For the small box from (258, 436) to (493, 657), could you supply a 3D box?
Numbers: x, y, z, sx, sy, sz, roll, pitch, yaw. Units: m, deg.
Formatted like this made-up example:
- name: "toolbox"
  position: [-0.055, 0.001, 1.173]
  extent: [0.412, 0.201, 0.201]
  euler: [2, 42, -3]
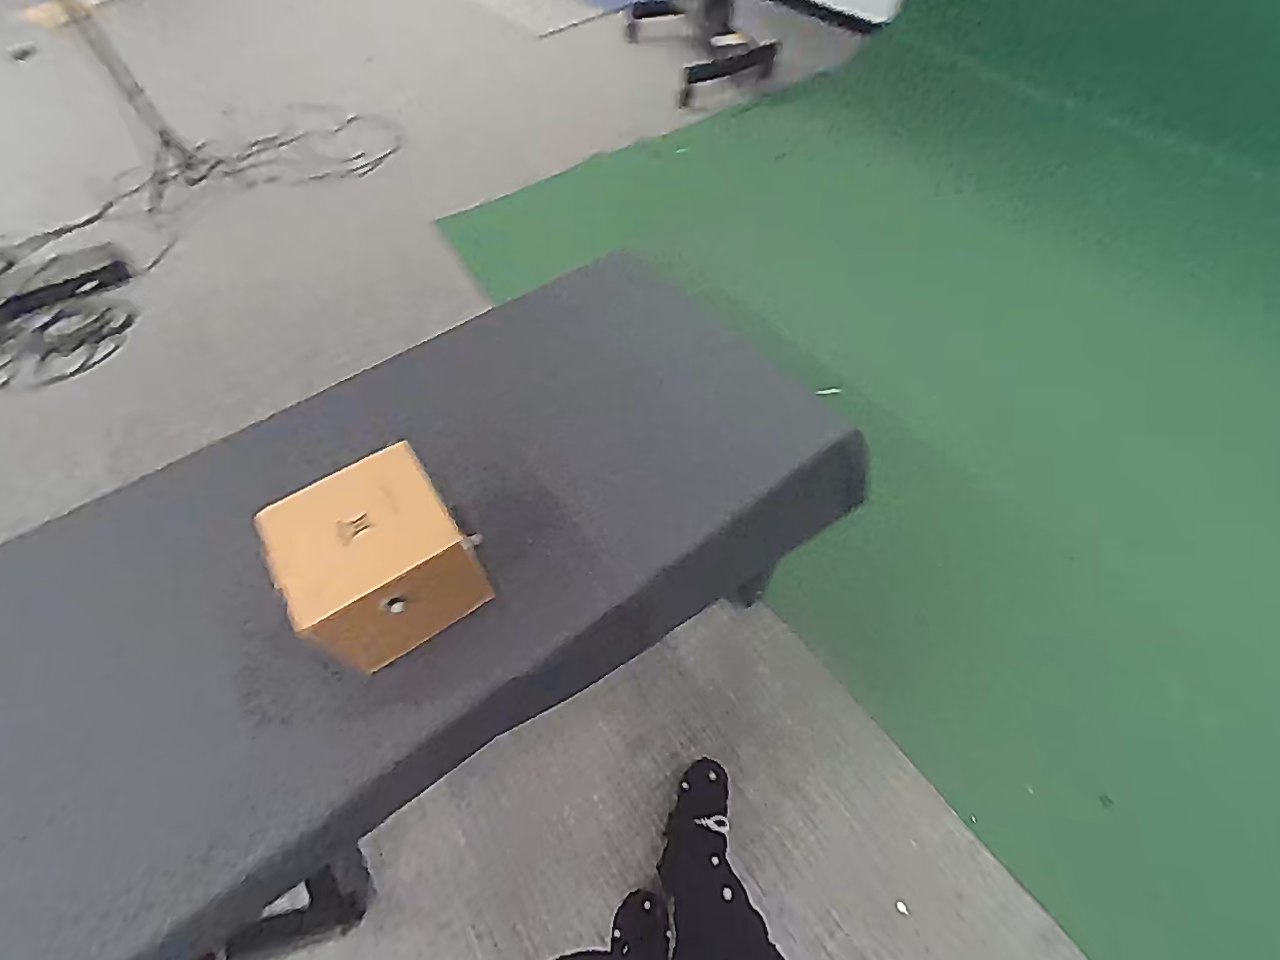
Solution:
- name: "small box"
  position: [-0.308, 0.087, 0.659]
  extent: [0.179, 0.176, 0.168]
  euler: [-33, 63, -18]
